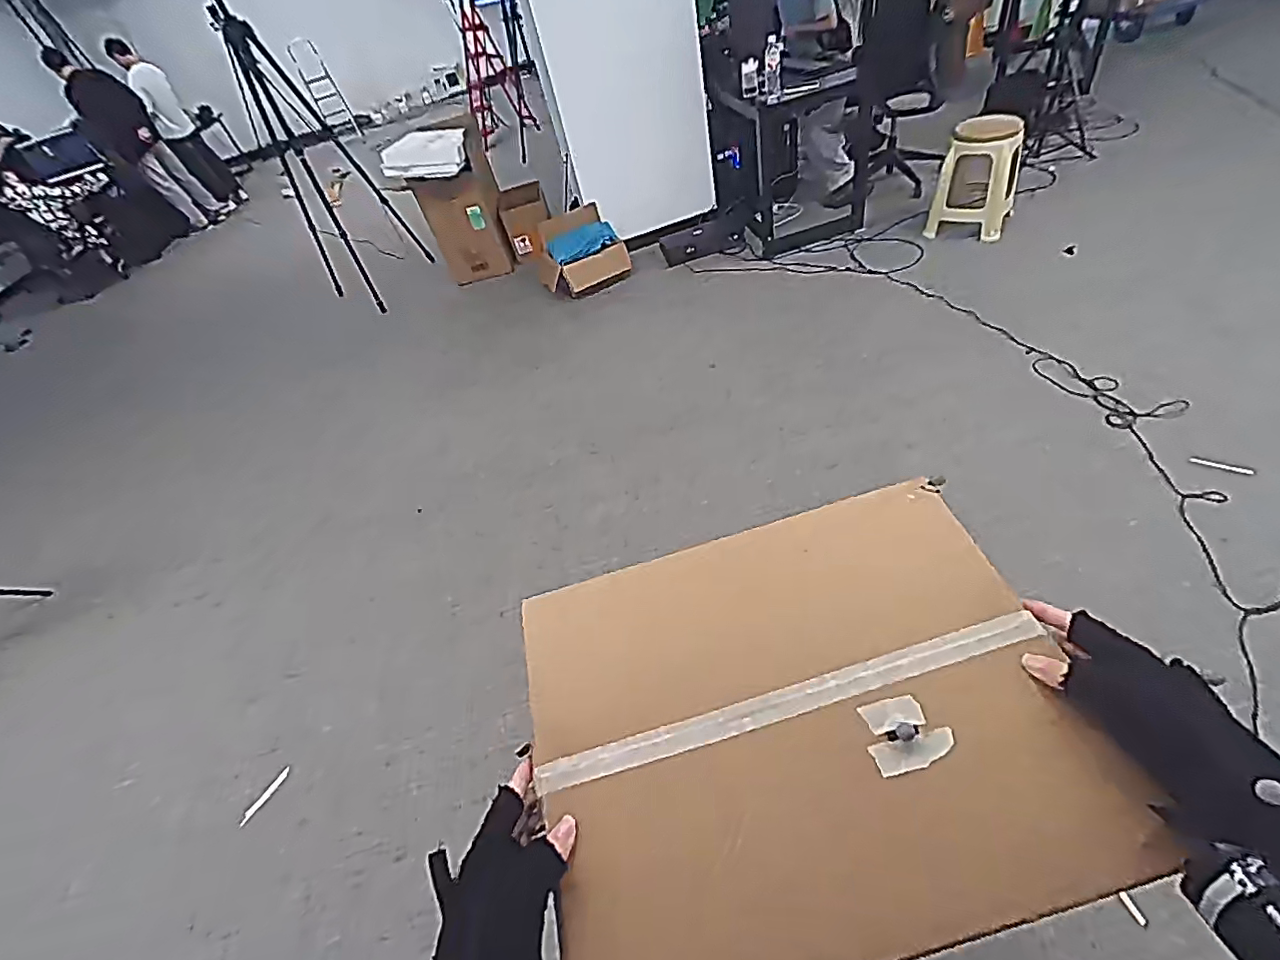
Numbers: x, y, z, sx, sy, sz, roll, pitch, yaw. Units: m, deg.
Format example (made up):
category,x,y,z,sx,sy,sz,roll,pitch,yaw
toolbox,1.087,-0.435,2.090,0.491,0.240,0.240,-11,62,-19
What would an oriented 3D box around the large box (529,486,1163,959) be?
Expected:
category,x,y,z,sx,sy,sz,roll,pitch,yaw
large box,0.141,0.267,0.553,0.408,0.320,0.320,-17,52,-1
